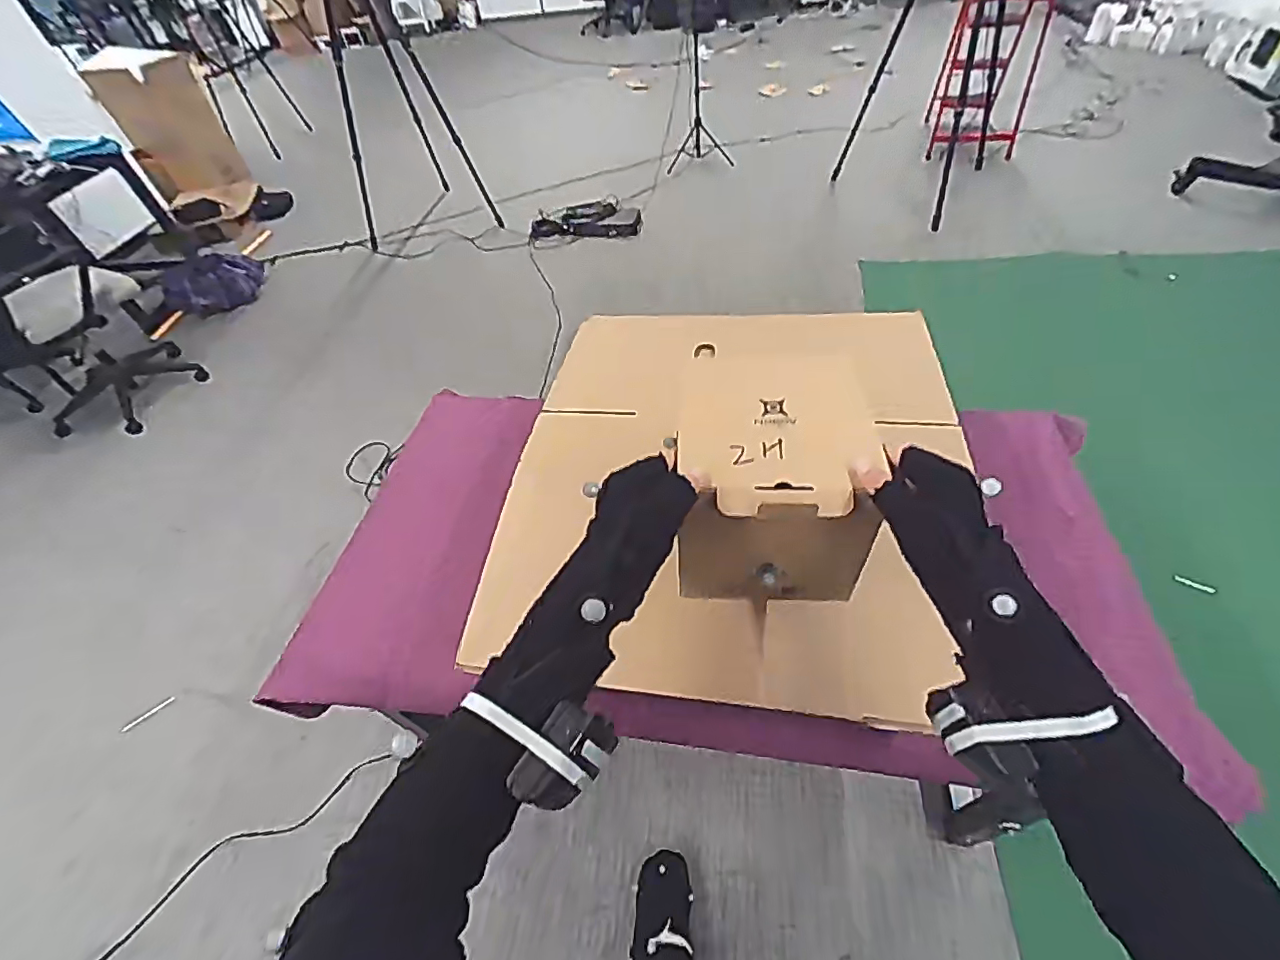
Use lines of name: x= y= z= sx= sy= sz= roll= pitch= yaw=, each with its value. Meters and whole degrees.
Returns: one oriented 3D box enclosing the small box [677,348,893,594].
small box: x=0.122 y=-0.010 z=0.530 sx=0.168 sy=0.176 sz=0.179 roll=1 pitch=49 yaw=6
